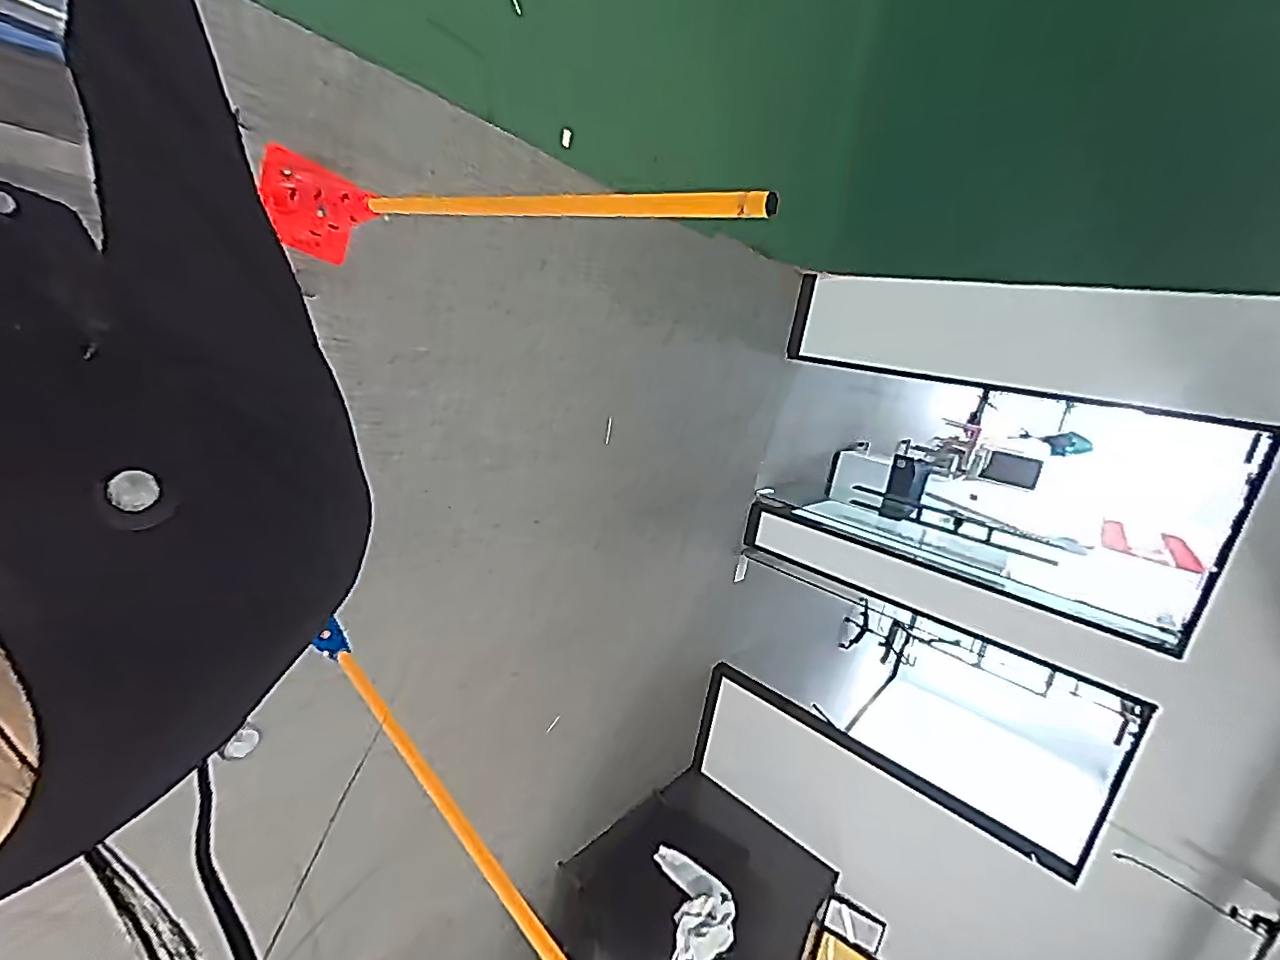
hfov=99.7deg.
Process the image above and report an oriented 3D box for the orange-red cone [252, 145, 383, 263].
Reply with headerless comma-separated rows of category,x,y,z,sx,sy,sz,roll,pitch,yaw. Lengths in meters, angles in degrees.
orange-red cone,-0.643,-0.585,1.150,0.198,0.360,0.199,12,98,-52
